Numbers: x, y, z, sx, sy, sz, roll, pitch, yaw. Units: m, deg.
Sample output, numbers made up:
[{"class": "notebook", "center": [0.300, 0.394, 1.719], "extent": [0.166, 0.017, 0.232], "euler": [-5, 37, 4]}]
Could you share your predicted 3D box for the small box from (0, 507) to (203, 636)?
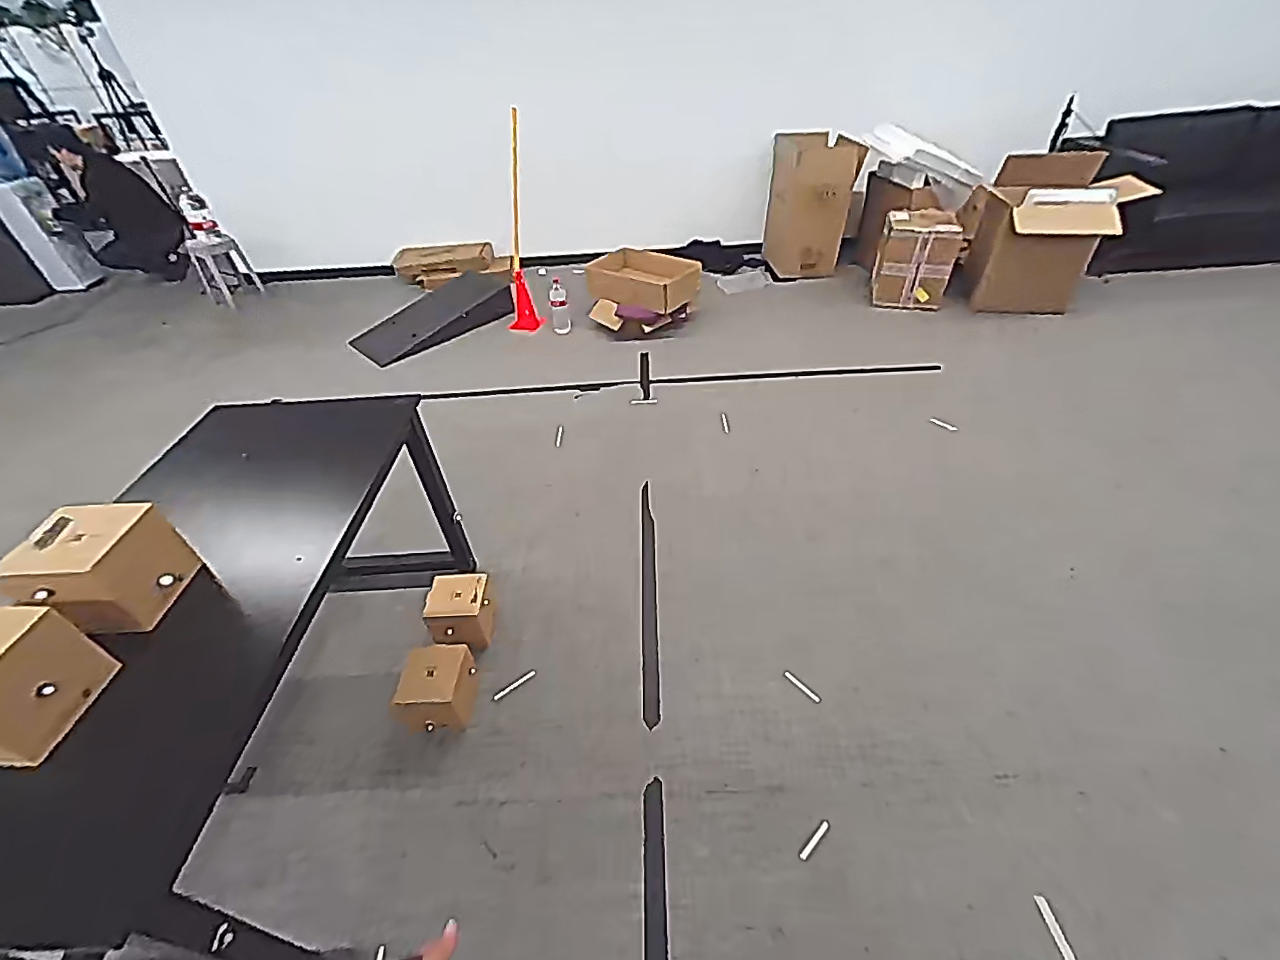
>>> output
[{"class": "small box", "center": [-0.967, 0.168, 0.983], "extent": [0.179, 0.176, 0.168], "euler": [-3, 41, 1]}]

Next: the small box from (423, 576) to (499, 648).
[{"class": "small box", "center": [-0.576, 0.434, 1.761], "extent": [0.179, 0.176, 0.168], "euler": [-4, 41, 1]}]

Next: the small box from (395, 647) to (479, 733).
[{"class": "small box", "center": [-0.576, 0.607, 1.563], "extent": [0.168, 0.176, 0.179], "euler": [-4, 41, 2]}]

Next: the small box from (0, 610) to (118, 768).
[{"class": "small box", "center": [-0.968, 0.314, 0.812], "extent": [0.179, 0.176, 0.168], "euler": [-1, 40, 4]}]
